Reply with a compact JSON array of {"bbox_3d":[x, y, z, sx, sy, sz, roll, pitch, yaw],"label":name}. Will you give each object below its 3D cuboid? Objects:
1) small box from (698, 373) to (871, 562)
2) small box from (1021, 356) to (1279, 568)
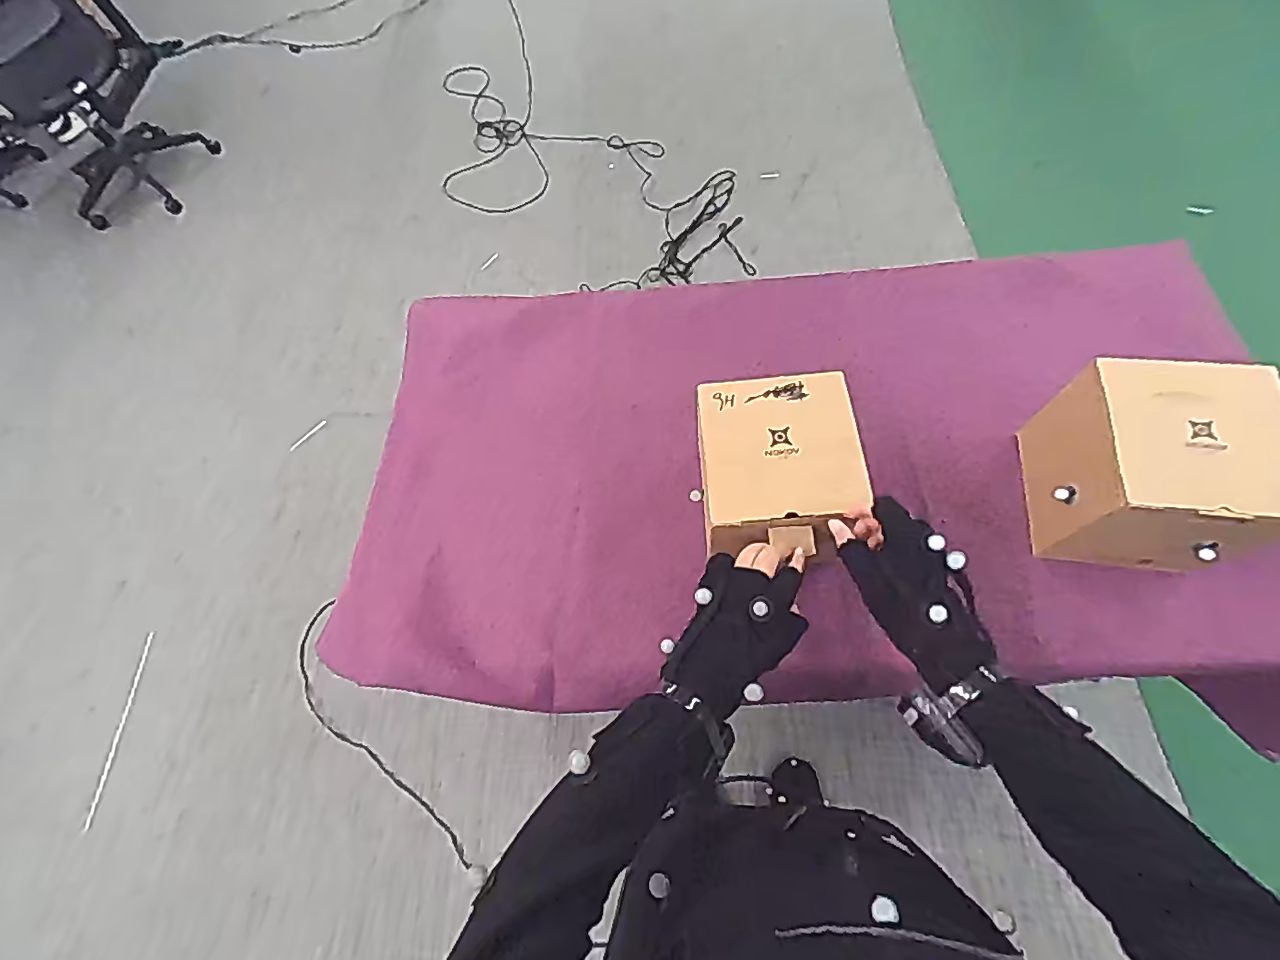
[{"bbox_3d":[0.159,-0.004,0.651,0.168,0.176,0.179,-4,65,5],"label":"small box"},{"bbox_3d":[0.560,-0.012,0.601,0.168,0.176,0.179,6,66,10],"label":"small box"}]
